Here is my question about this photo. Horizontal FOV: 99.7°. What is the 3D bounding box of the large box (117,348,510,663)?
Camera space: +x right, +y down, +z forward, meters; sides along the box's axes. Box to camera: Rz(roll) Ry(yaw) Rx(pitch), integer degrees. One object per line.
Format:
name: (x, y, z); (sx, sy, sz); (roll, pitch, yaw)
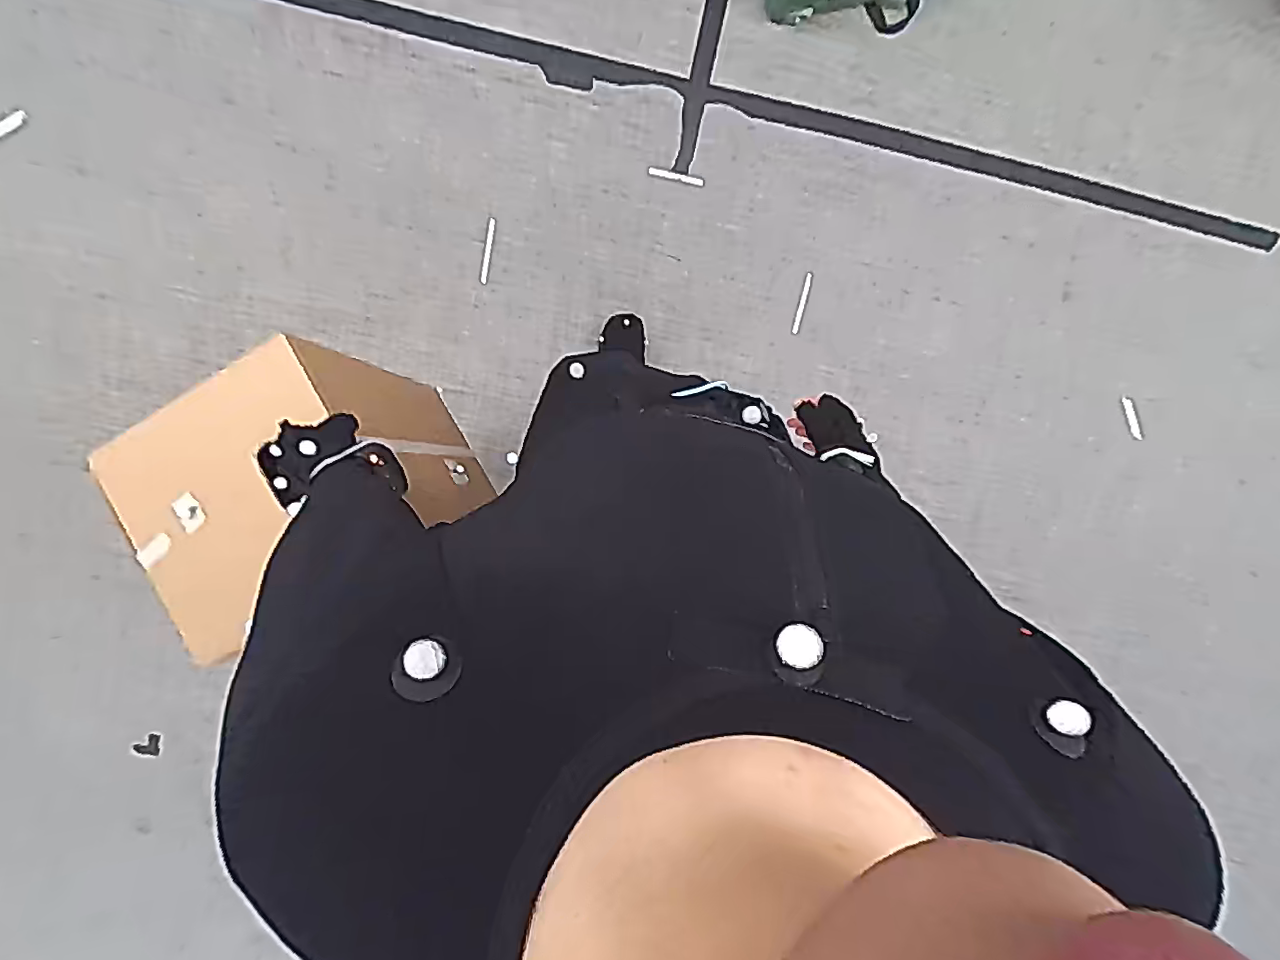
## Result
large box: (-0.473, 0.036, 0.886); (0.320, 0.408, 0.320); (-30, 88, 3)
